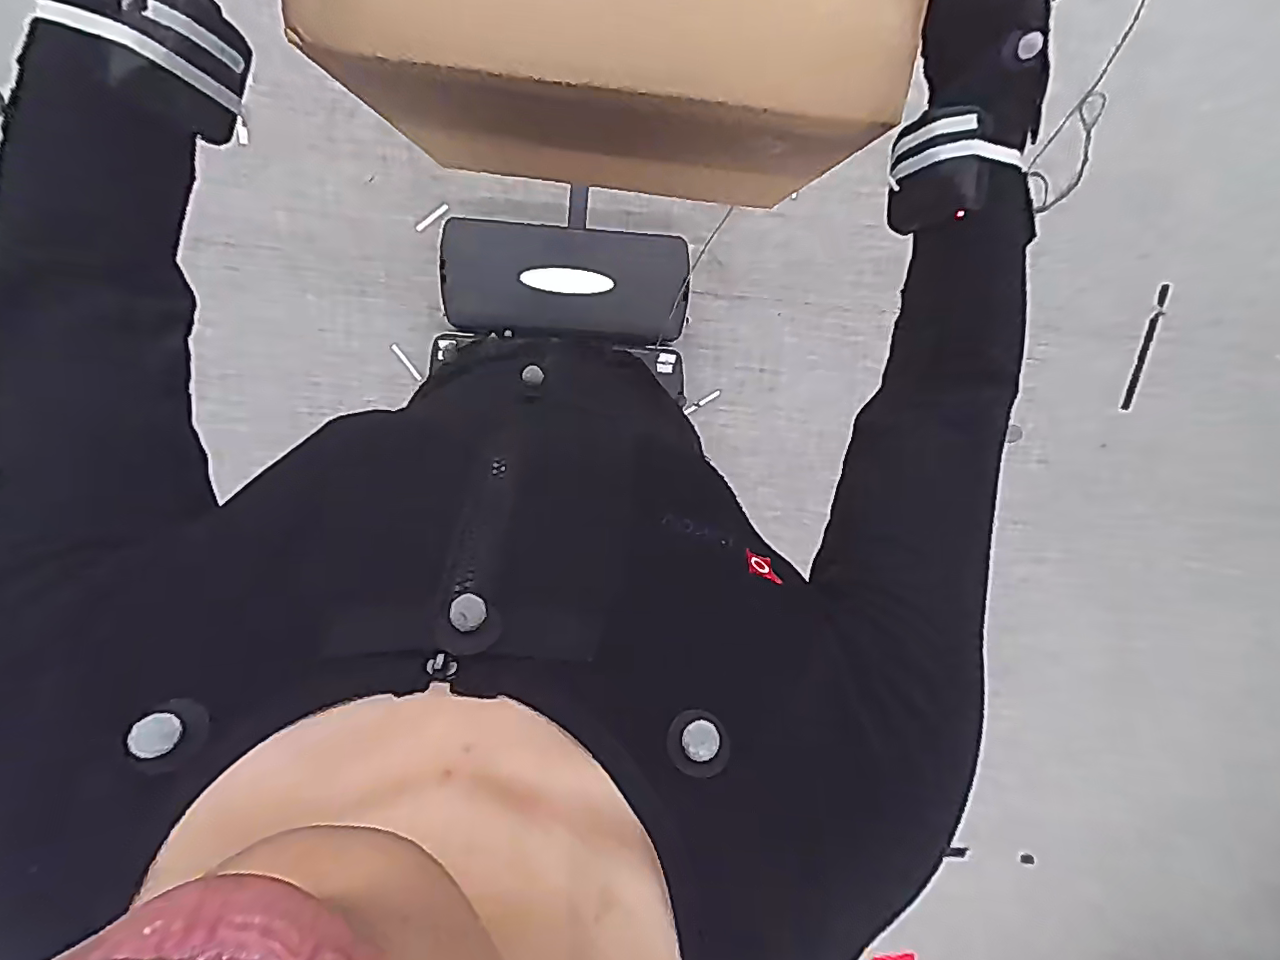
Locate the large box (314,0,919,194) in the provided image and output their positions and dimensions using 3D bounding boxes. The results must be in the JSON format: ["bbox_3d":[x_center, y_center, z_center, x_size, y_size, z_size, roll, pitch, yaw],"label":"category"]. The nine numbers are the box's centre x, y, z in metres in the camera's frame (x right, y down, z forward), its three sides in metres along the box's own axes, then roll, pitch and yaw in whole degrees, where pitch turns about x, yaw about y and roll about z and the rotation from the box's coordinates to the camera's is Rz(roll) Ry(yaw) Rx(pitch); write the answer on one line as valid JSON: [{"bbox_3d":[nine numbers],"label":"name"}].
[{"bbox_3d":[-0.011,-0.460,0.464,0.408,0.320,0.320,4,108,-4],"label":"large box"}]

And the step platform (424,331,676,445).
[{"bbox_3d":[-0.239,-0.255,1.514,0.684,0.204,0.286,2,104,-5],"label":"step platform"}]
